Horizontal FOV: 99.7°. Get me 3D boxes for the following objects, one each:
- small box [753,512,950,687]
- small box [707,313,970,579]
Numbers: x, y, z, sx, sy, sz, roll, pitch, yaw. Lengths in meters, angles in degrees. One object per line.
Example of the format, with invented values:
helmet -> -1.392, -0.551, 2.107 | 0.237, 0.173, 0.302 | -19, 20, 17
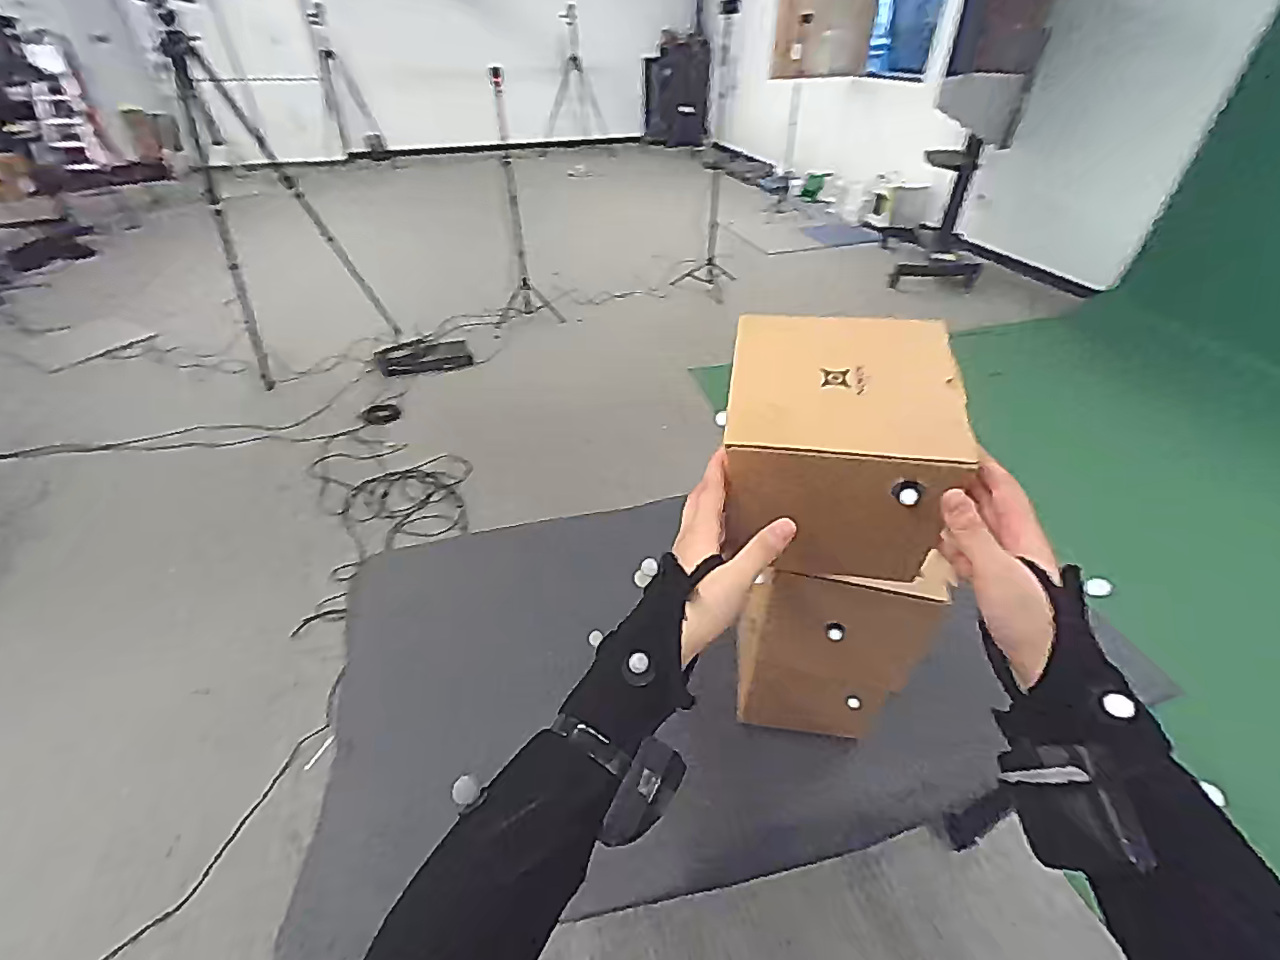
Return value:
small box -> 0.244, 0.126, 0.657 | 0.179, 0.176, 0.168 | 9, 40, 12
small box -> 0.155, -0.027, 0.479 | 0.179, 0.176, 0.168 | 5, 52, 11
